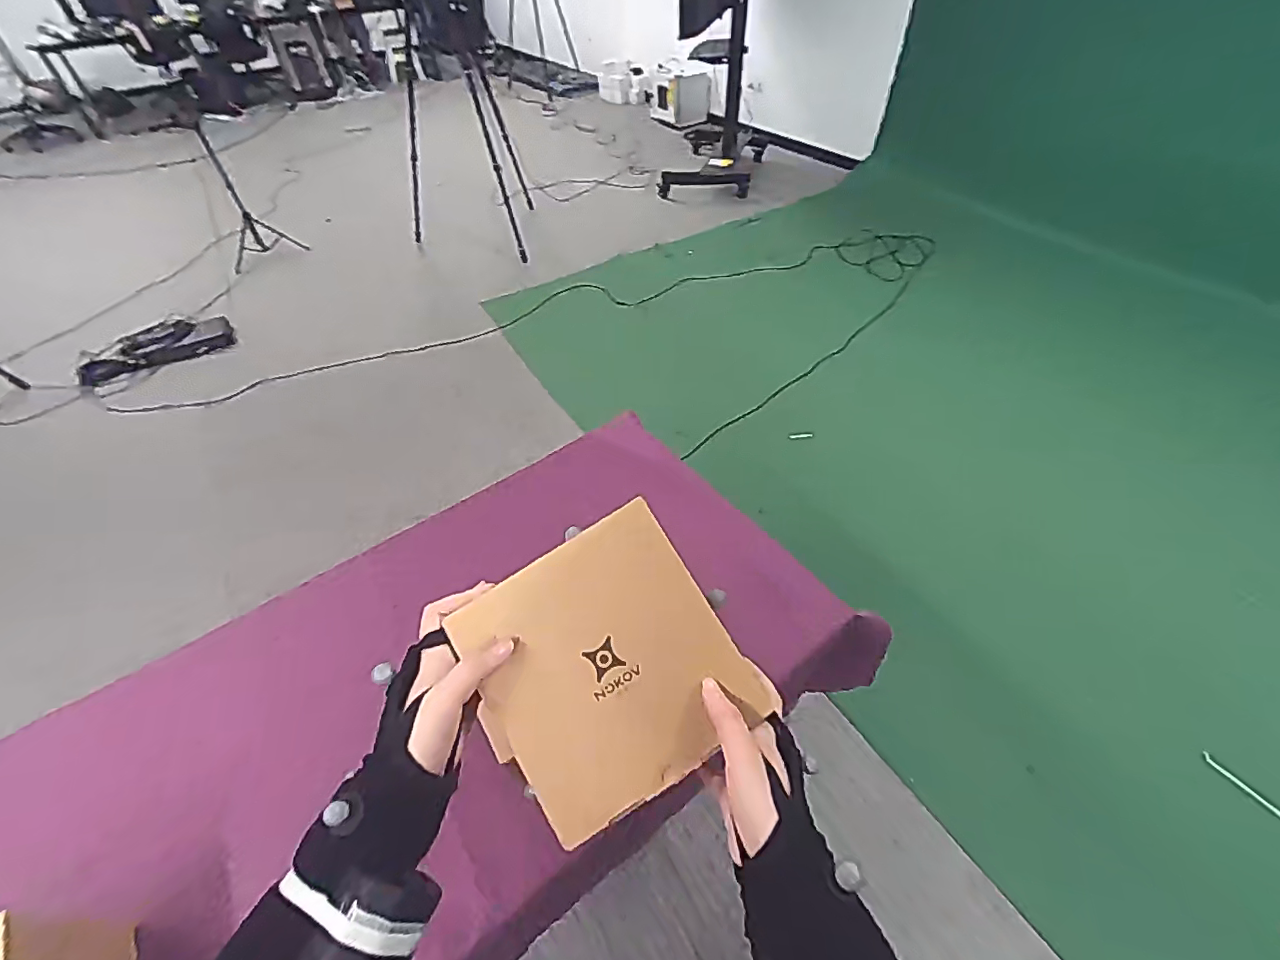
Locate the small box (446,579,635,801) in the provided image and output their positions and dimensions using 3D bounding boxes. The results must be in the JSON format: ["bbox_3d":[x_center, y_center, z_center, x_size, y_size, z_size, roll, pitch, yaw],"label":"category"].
[{"bbox_3d":[-0.121,0.267,0.690,0.168,0.176,0.179,-28,52,-20],"label":"small box"}]
